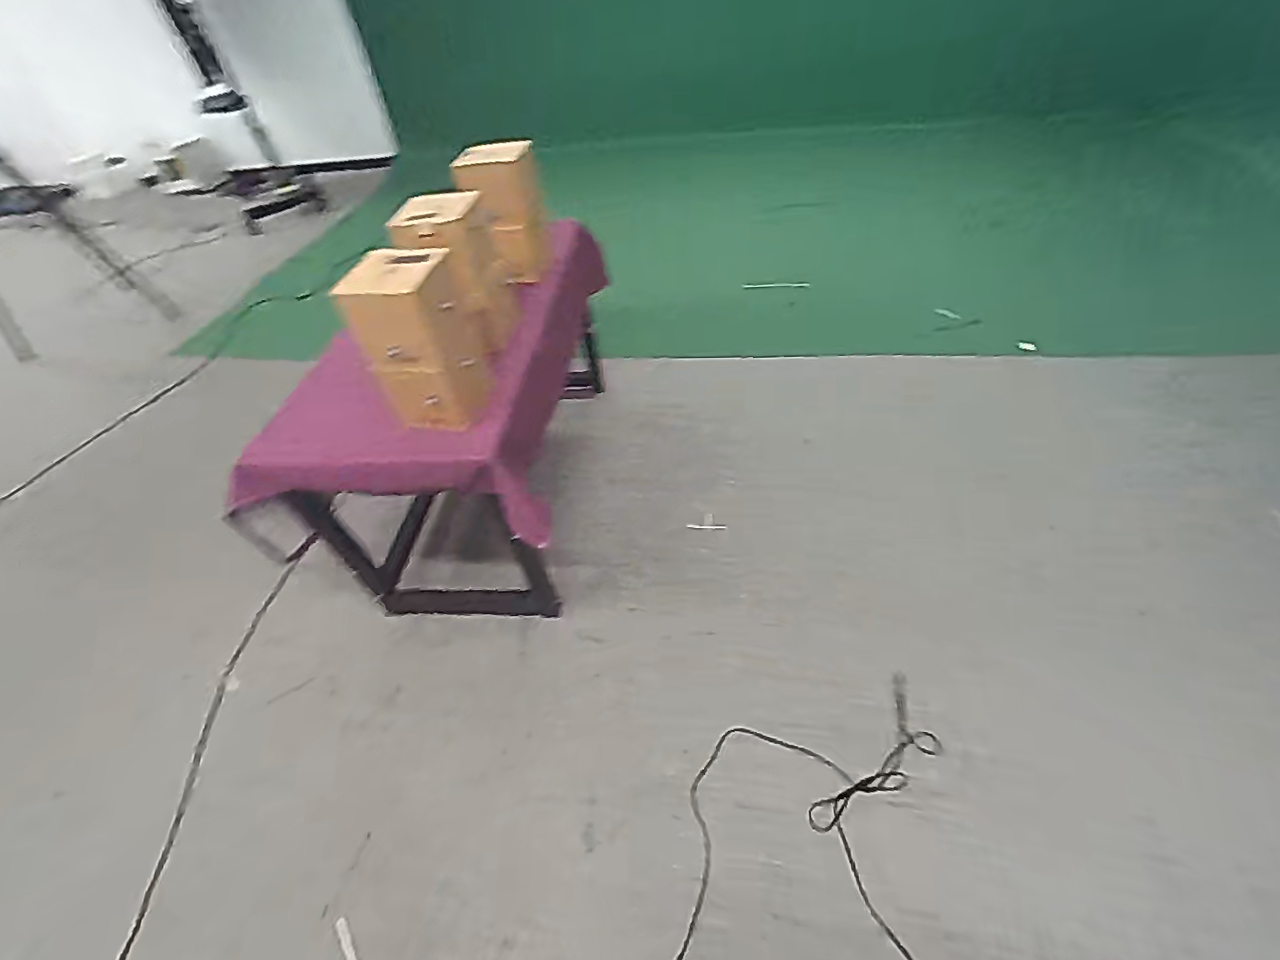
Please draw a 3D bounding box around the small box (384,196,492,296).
[{"bbox_3d":[-0.472,-0.556,1.300,0.168,0.176,0.179,-1,46,8],"label":"small box"}]

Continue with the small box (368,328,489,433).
[{"bbox_3d":[-0.462,-0.223,1.217,0.168,0.176,0.179,5,48,12],"label":"small box"}]

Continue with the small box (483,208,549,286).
[{"bbox_3d":[-0.394,-0.713,1.662,0.168,0.176,0.179,4,48,12],"label":"small box"}]

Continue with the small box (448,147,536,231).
[{"bbox_3d":[-0.412,-0.827,1.544,0.179,0.176,0.168,1,47,9],"label":"small box"}]
